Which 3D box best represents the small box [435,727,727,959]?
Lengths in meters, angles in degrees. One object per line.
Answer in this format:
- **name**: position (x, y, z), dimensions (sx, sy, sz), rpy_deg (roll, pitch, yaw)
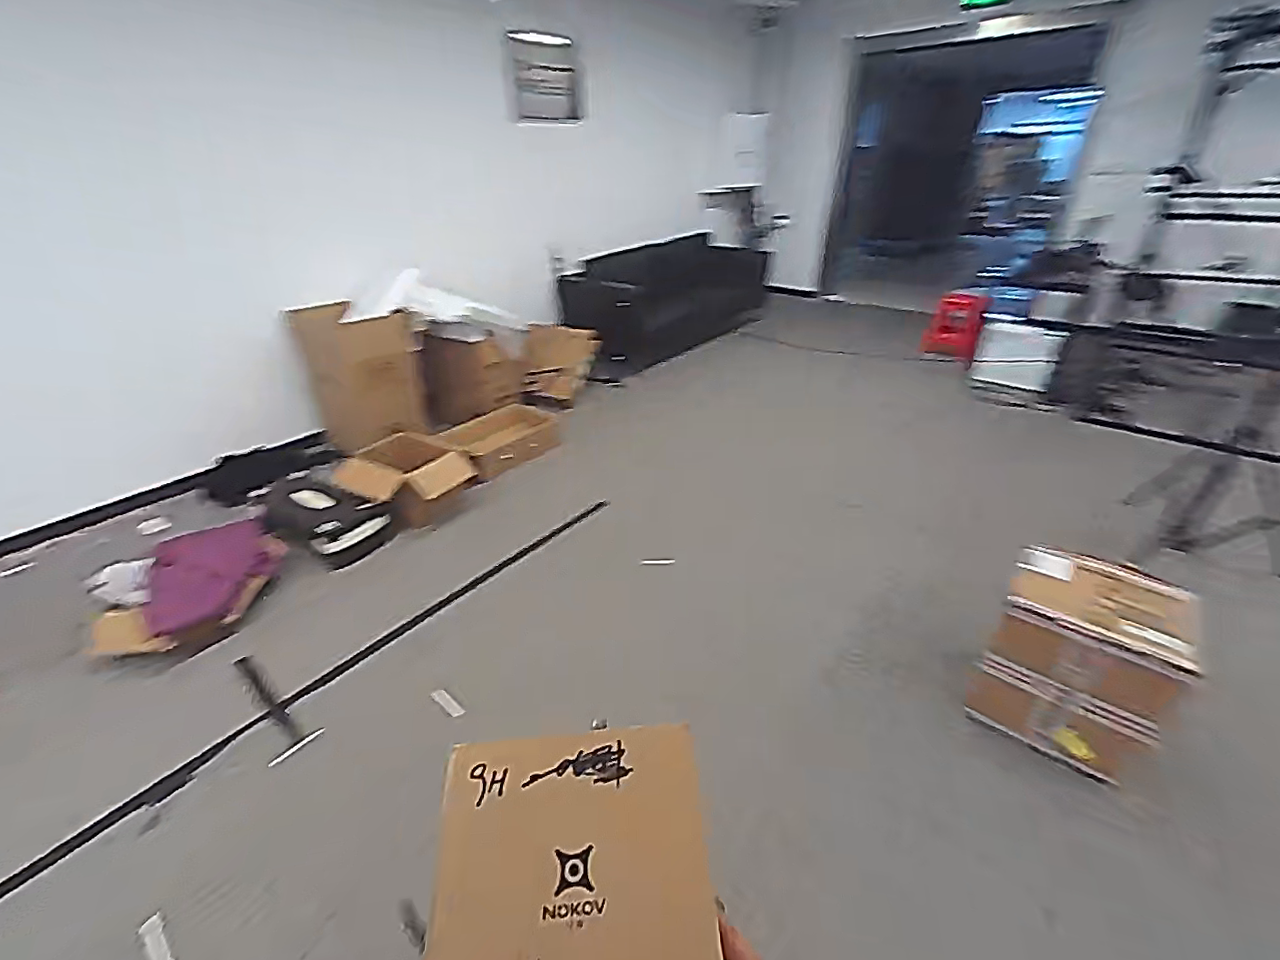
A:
- **small box**: position (-0.032, 0.293, 0.378), dimensions (0.168, 0.176, 0.179), rpy_deg (-4, 50, -2)
